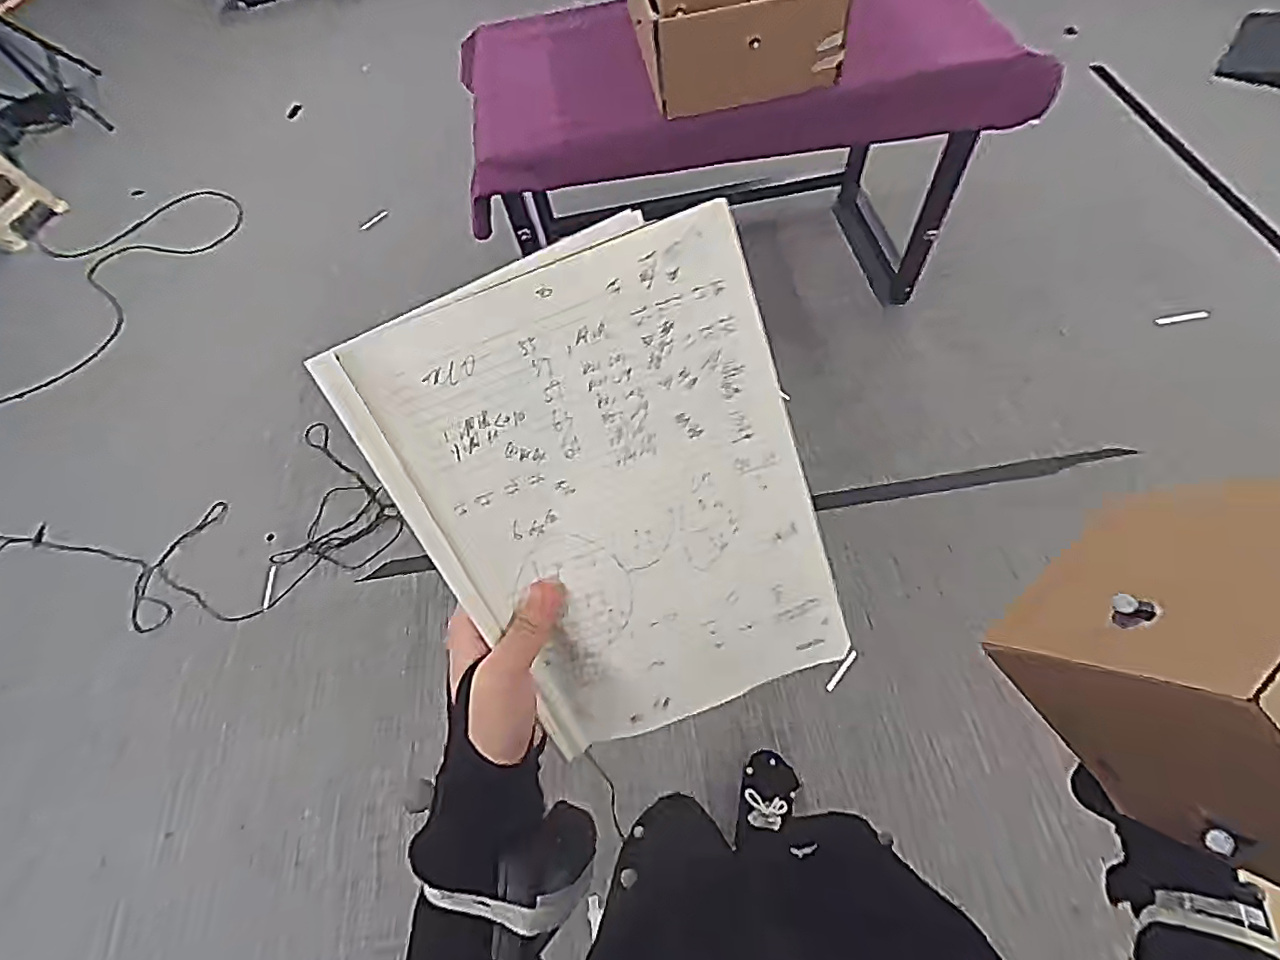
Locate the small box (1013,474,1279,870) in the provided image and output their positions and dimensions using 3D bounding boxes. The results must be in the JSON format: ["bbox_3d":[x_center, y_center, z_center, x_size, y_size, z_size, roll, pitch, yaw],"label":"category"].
[{"bbox_3d":[0.374,0.112,0.321,0.179,0.176,0.168,-41,89,-10],"label":"small box"}]
